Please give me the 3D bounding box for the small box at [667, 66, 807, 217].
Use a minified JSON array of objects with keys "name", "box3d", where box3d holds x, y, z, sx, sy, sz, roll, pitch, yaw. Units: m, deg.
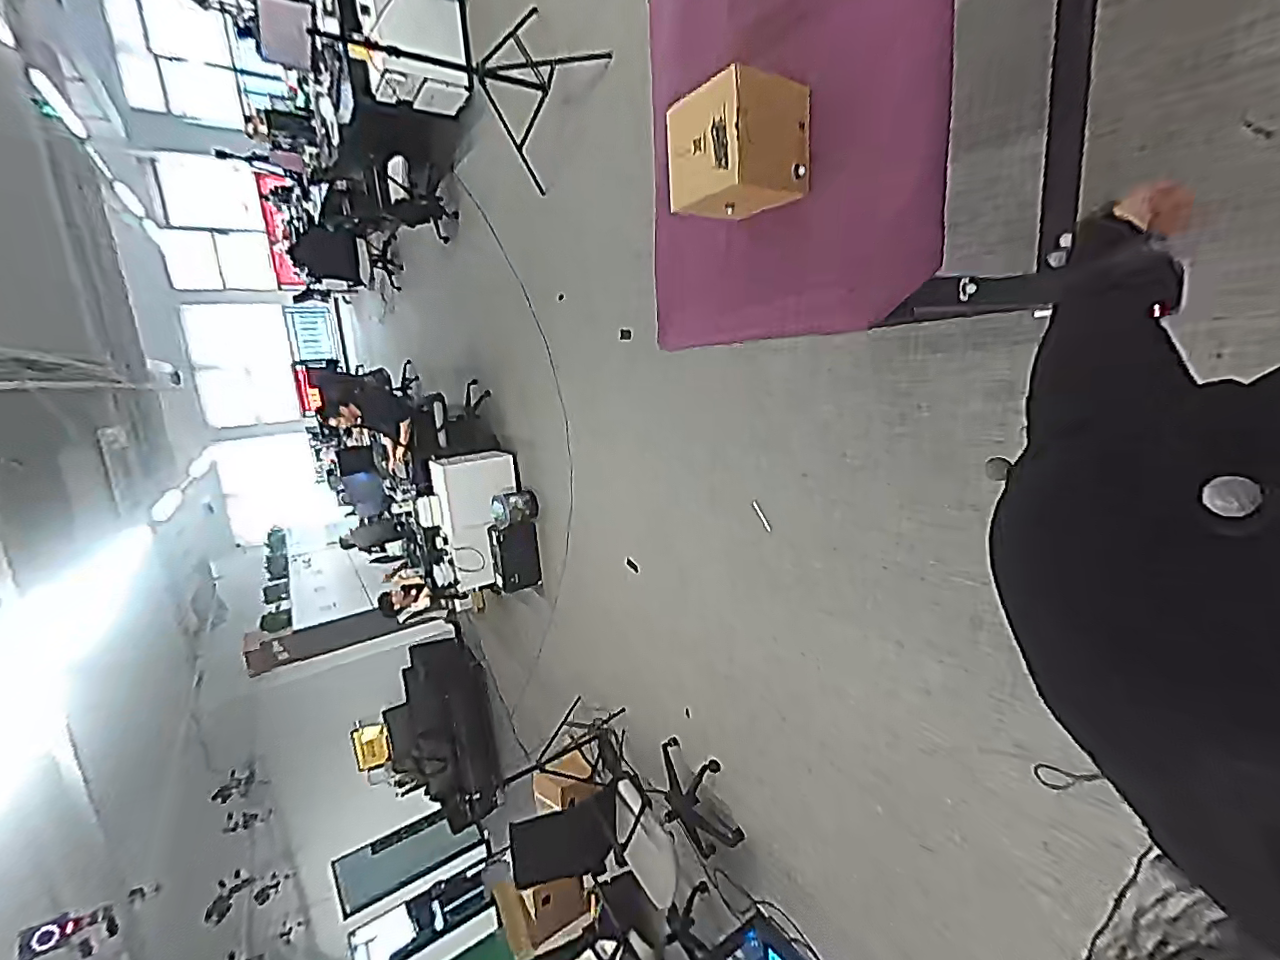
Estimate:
[{"name":"small box","box3d":[0.167,-0.562,0.925,0.179,0.176,0.168,15,112,55]}]
